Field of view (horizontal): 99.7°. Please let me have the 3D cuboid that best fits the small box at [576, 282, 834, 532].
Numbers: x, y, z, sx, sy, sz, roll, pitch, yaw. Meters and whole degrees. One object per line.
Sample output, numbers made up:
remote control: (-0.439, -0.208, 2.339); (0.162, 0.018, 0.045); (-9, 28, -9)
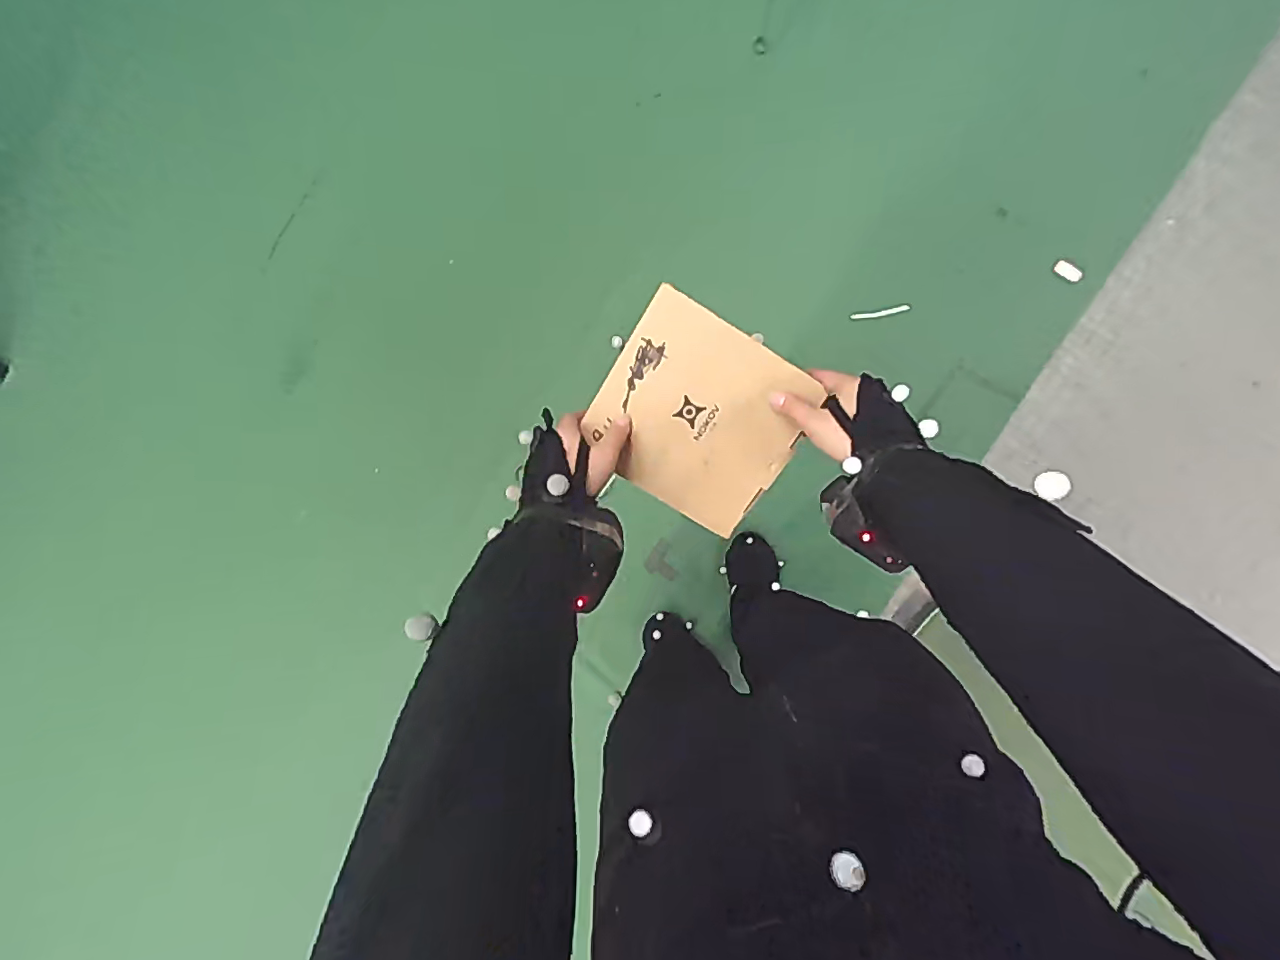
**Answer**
small box: (0.060, -0.081, 0.559); (0.179, 0.176, 0.168); (33, 104, -6)
